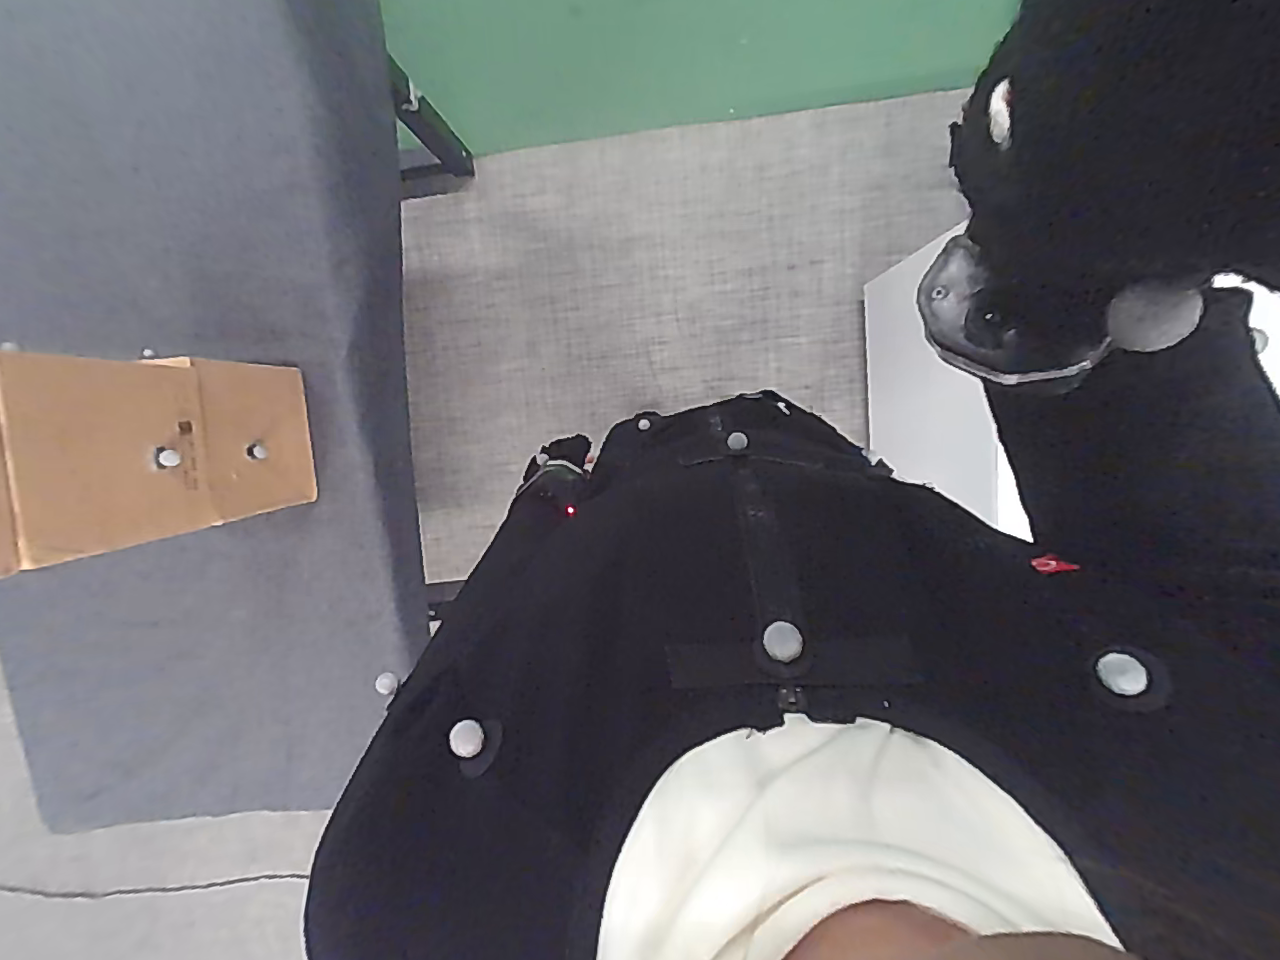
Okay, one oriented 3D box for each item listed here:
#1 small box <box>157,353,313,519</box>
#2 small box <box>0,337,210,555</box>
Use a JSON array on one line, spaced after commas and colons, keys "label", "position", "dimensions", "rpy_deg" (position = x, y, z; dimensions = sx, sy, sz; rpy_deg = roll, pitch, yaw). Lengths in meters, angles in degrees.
[{"label": "small box", "position": [-0.528, -0.056, 0.652], "dimensions": [0.168, 0.176, 0.179], "rpy_deg": [-2, 98, 5]}, {"label": "small box", "position": [-0.547, -0.032, 0.490], "dimensions": [0.179, 0.176, 0.168], "rpy_deg": [-2, 98, 7]}]
